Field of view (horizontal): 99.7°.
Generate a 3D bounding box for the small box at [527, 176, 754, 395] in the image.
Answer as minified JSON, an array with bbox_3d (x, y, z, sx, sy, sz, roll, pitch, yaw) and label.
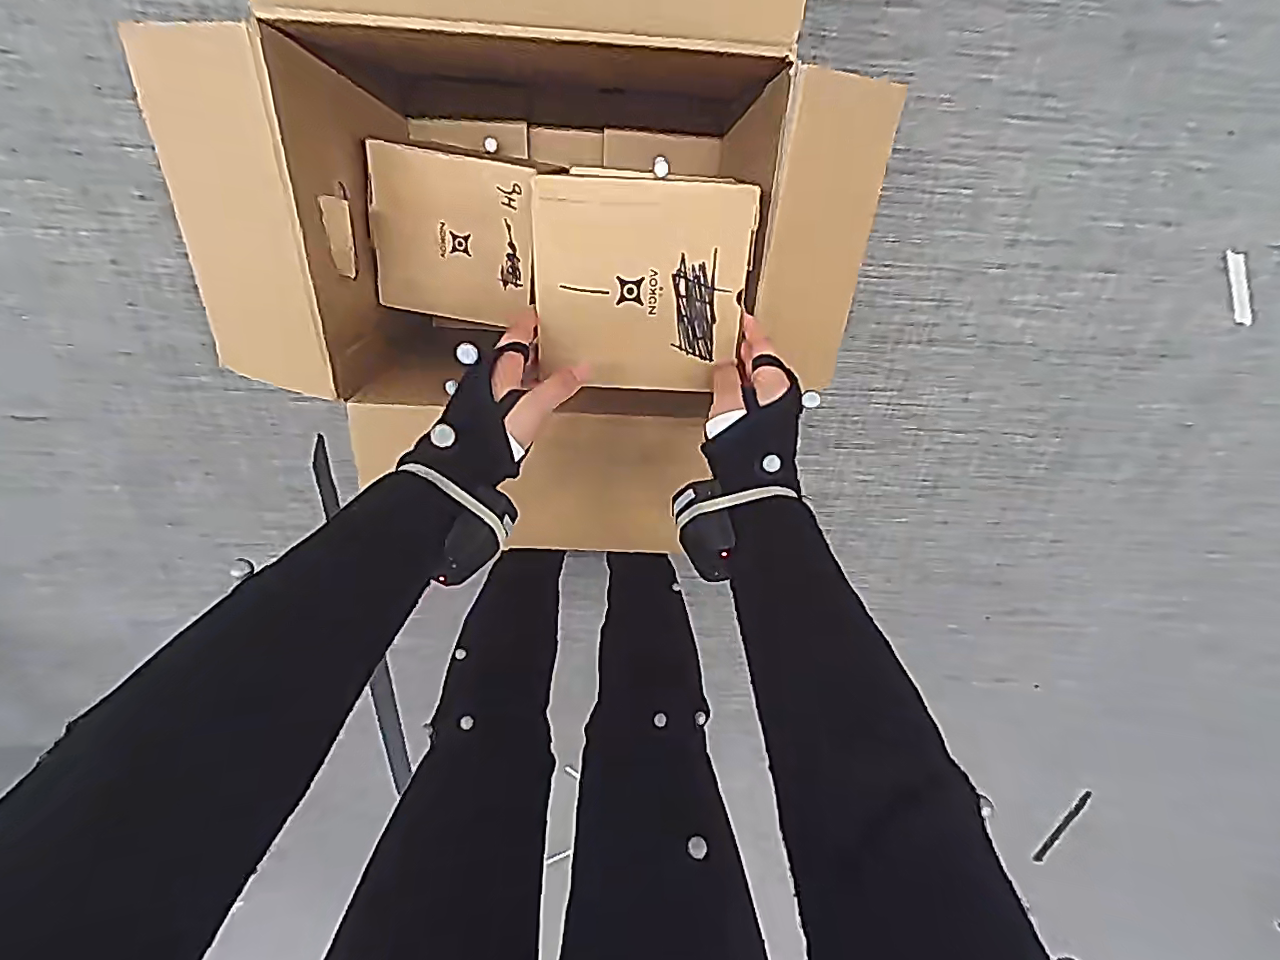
[{"bbox_3d":[-0.002,-0.191,0.515,0.179,0.176,0.168,3,119,0],"label":"small box"}]
